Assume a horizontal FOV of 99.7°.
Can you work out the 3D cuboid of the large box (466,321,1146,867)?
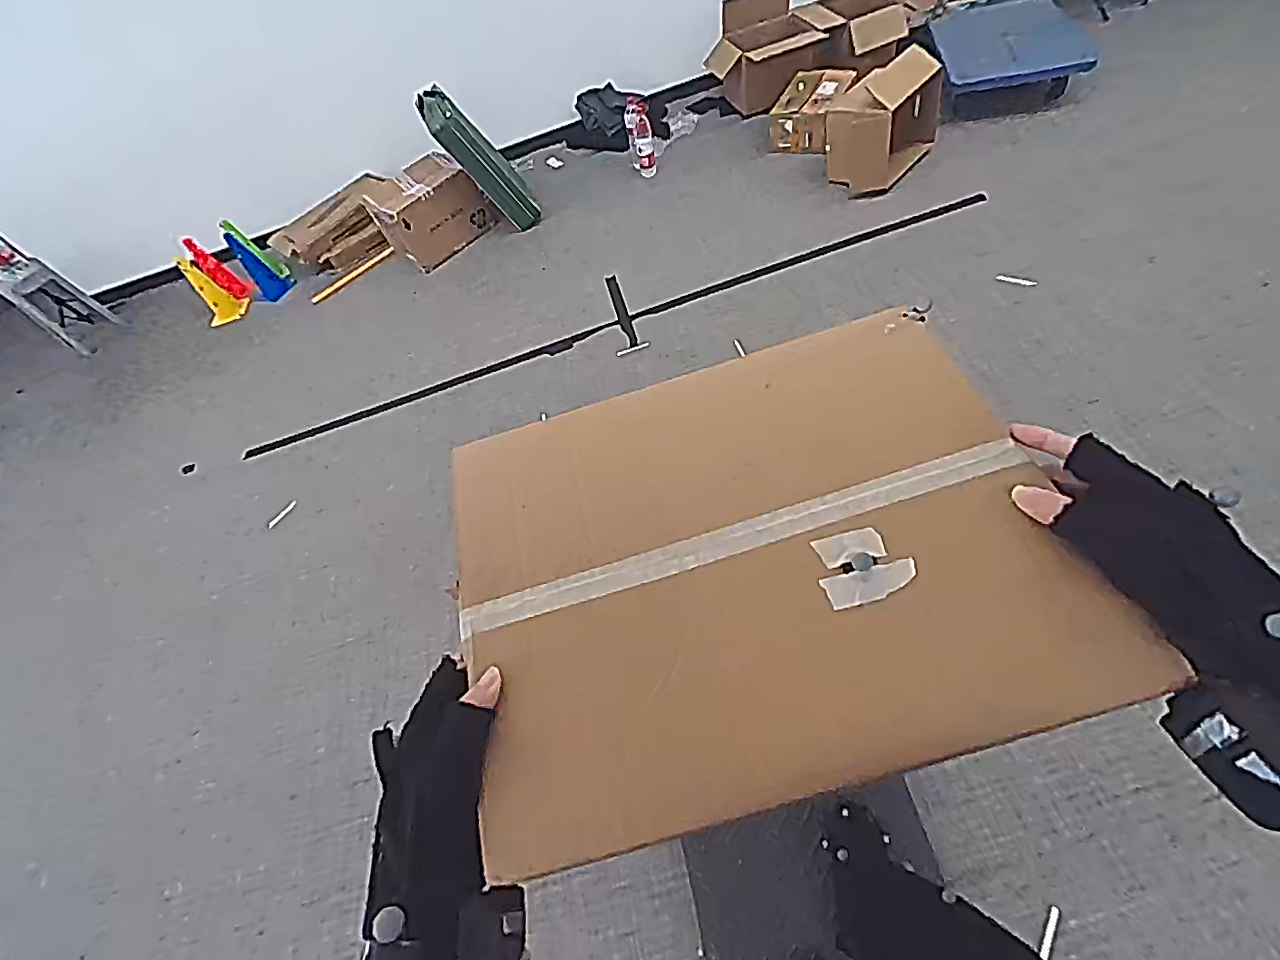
[{"bbox_3d":[0.097,0.120,0.521,0.408,0.320,0.320,-18,59,1],"label":"large box"}]
